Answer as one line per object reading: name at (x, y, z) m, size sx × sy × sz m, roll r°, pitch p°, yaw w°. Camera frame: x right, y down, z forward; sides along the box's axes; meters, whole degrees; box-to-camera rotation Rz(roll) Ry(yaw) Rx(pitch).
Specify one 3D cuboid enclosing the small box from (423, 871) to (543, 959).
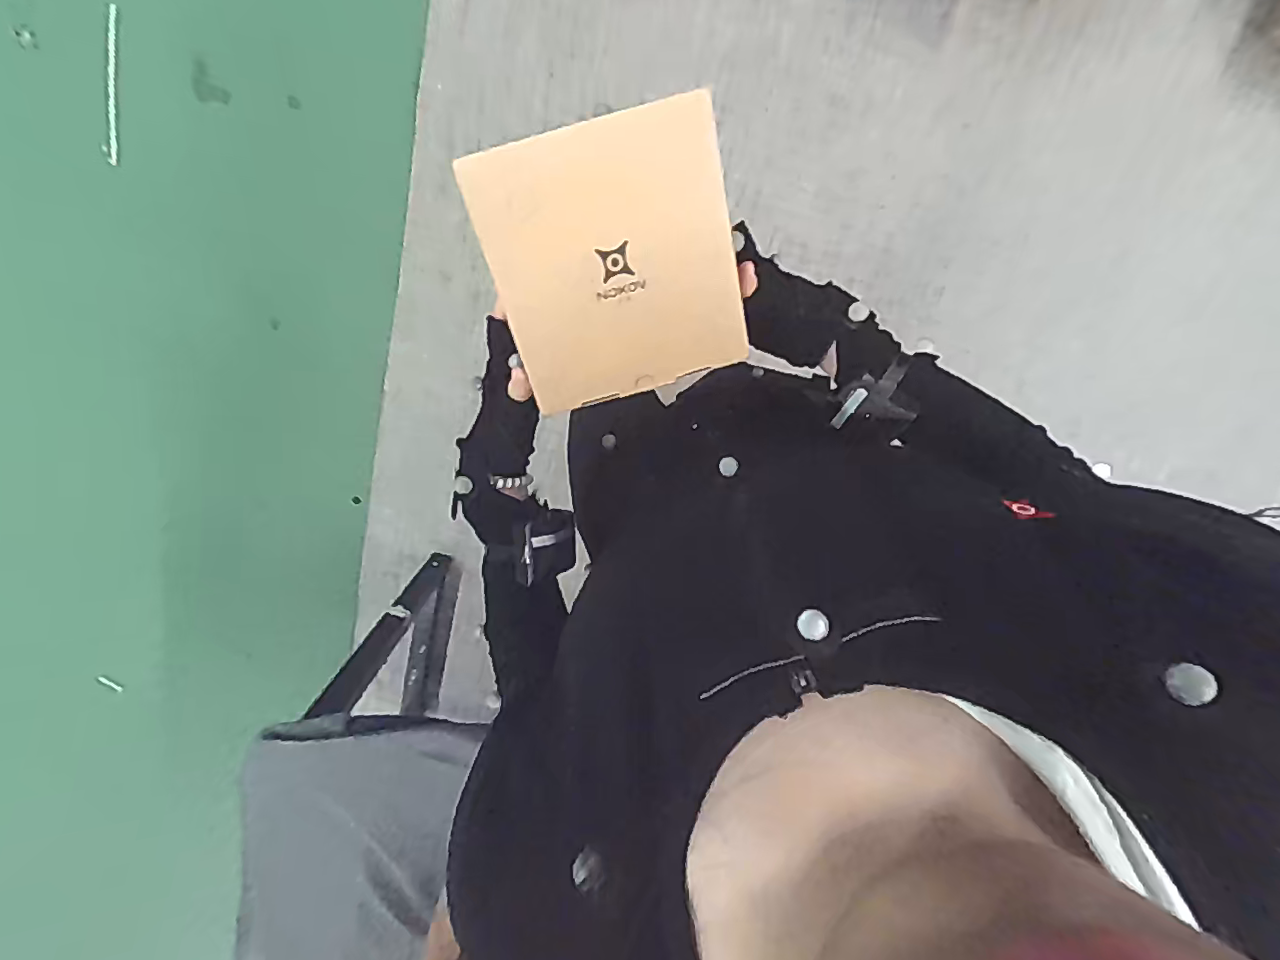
small box at (-0.258, 0.782, 0.868) m, size 0.168 × 0.176 × 0.179 m, roll 12°, pitch 106°, yaw -6°
